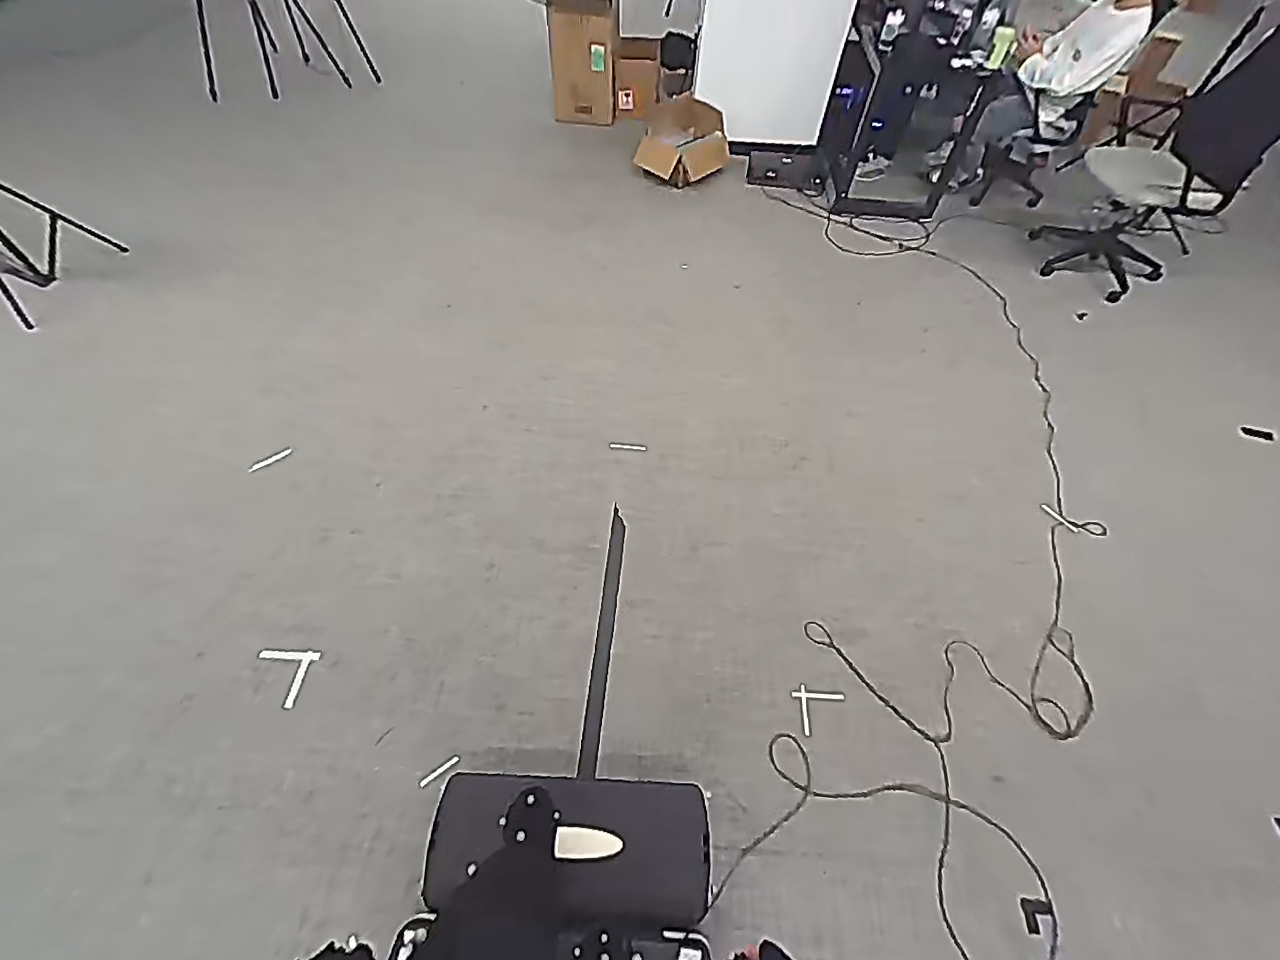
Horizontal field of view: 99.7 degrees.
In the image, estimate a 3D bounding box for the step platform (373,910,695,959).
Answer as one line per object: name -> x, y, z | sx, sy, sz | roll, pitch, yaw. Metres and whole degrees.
step platform -> -0.219, 1.089, 1.110 | 0.684, 0.204, 0.286 | 3, 54, 1
